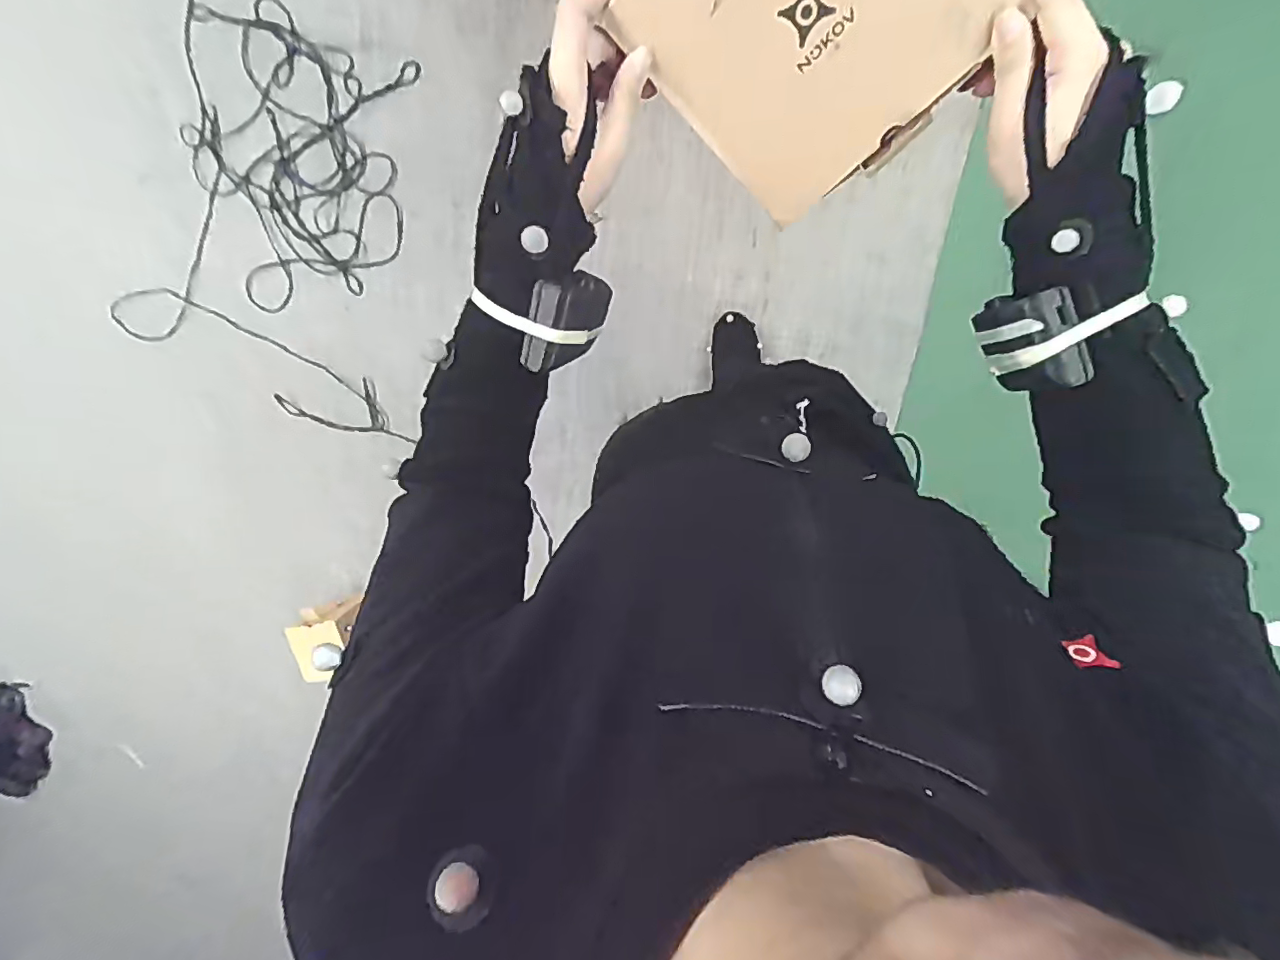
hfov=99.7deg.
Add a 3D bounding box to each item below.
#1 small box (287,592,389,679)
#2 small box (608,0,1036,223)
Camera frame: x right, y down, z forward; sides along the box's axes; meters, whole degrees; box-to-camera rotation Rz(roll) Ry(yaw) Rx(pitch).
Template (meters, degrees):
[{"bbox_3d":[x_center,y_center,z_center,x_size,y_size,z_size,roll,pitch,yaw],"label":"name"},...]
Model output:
[{"bbox_3d":[-0.867,0.448,1.571,0.168,0.176,0.179,-11,103,12],"label":"small box"},{"bbox_3d":[0.107,-0.318,0.348,0.179,0.176,0.168,34,134,-27],"label":"small box"}]
